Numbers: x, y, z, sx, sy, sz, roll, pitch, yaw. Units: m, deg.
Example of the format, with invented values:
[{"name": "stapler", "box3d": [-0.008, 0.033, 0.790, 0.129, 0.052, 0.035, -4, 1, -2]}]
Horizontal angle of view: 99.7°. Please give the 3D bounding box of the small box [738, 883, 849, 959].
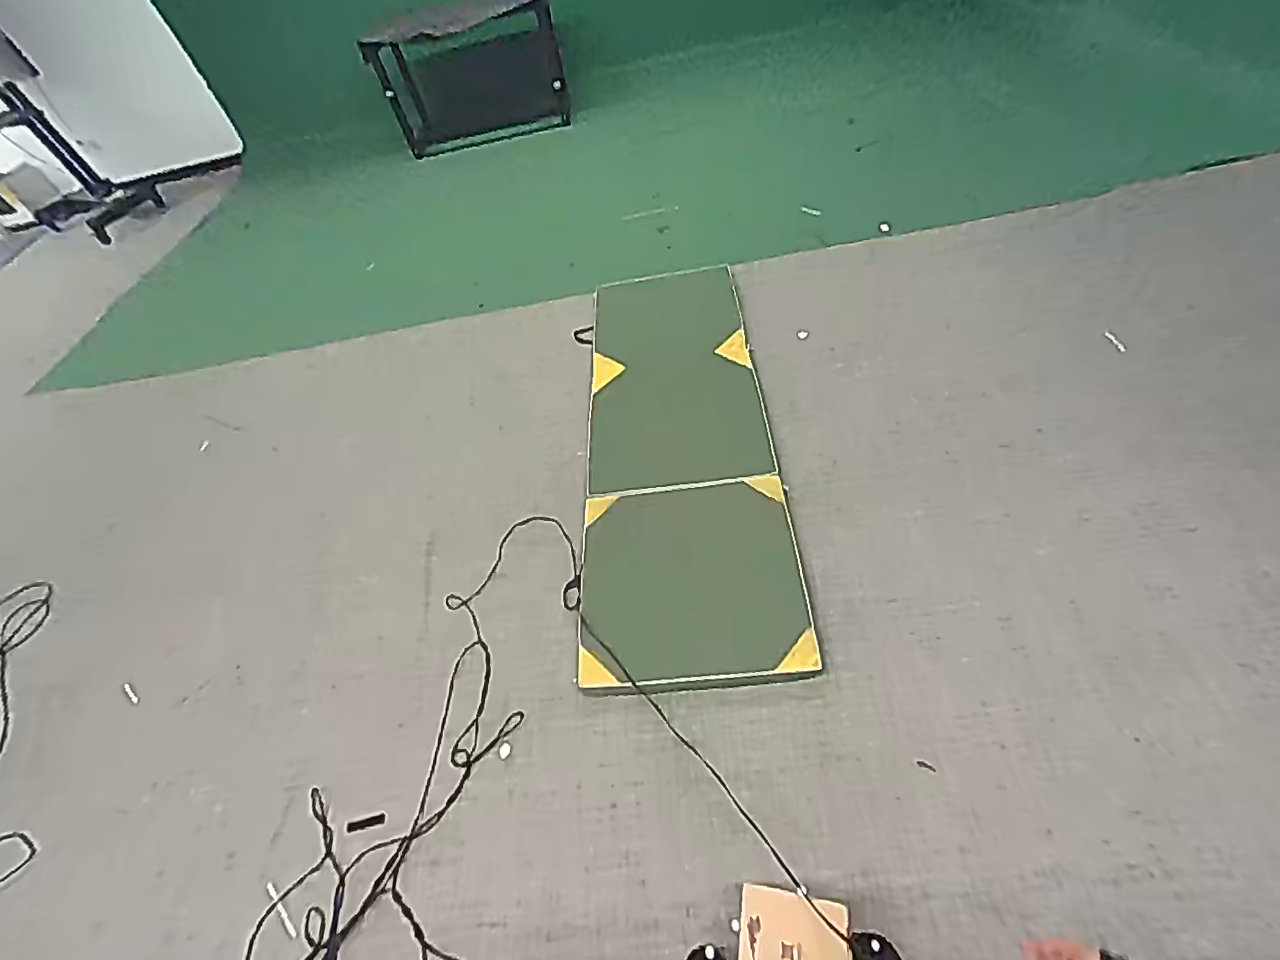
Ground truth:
[{"name": "small box", "box3d": [0.262, 0.823, 0.941, 0.179, 0.176, 0.168, 3, 52, 14]}]
